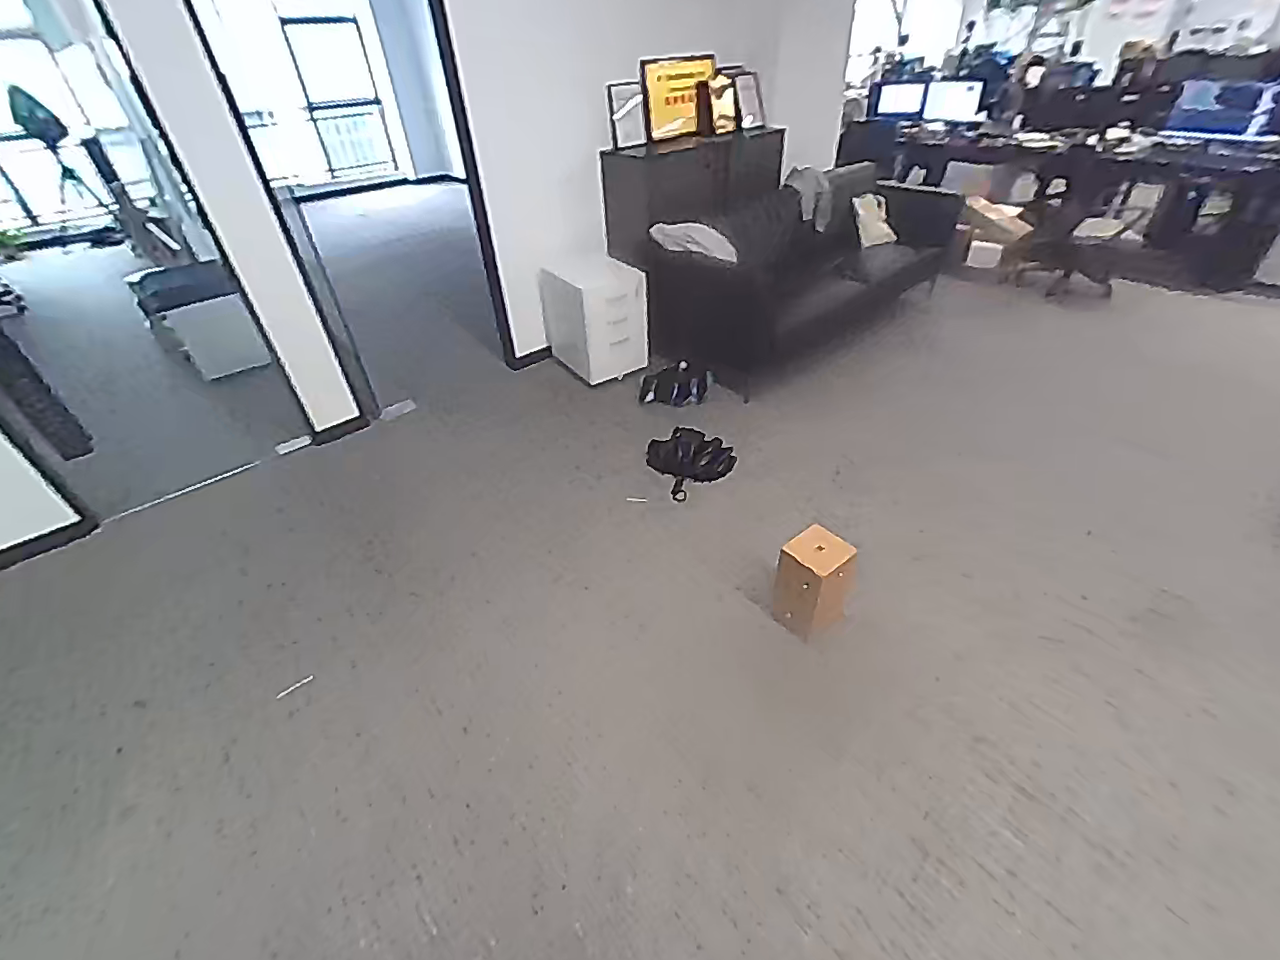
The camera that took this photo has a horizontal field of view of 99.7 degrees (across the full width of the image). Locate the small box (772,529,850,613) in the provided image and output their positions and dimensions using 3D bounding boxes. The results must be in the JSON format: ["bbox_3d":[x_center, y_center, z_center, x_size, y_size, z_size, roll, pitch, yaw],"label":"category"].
[{"bbox_3d":[0.549,0.297,1.760,0.179,0.176,0.168,-27,45,-30],"label":"small box"}]

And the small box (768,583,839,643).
[{"bbox_3d":[0.556,0.425,1.861,0.179,0.176,0.168,-29,45,-28],"label":"small box"}]
